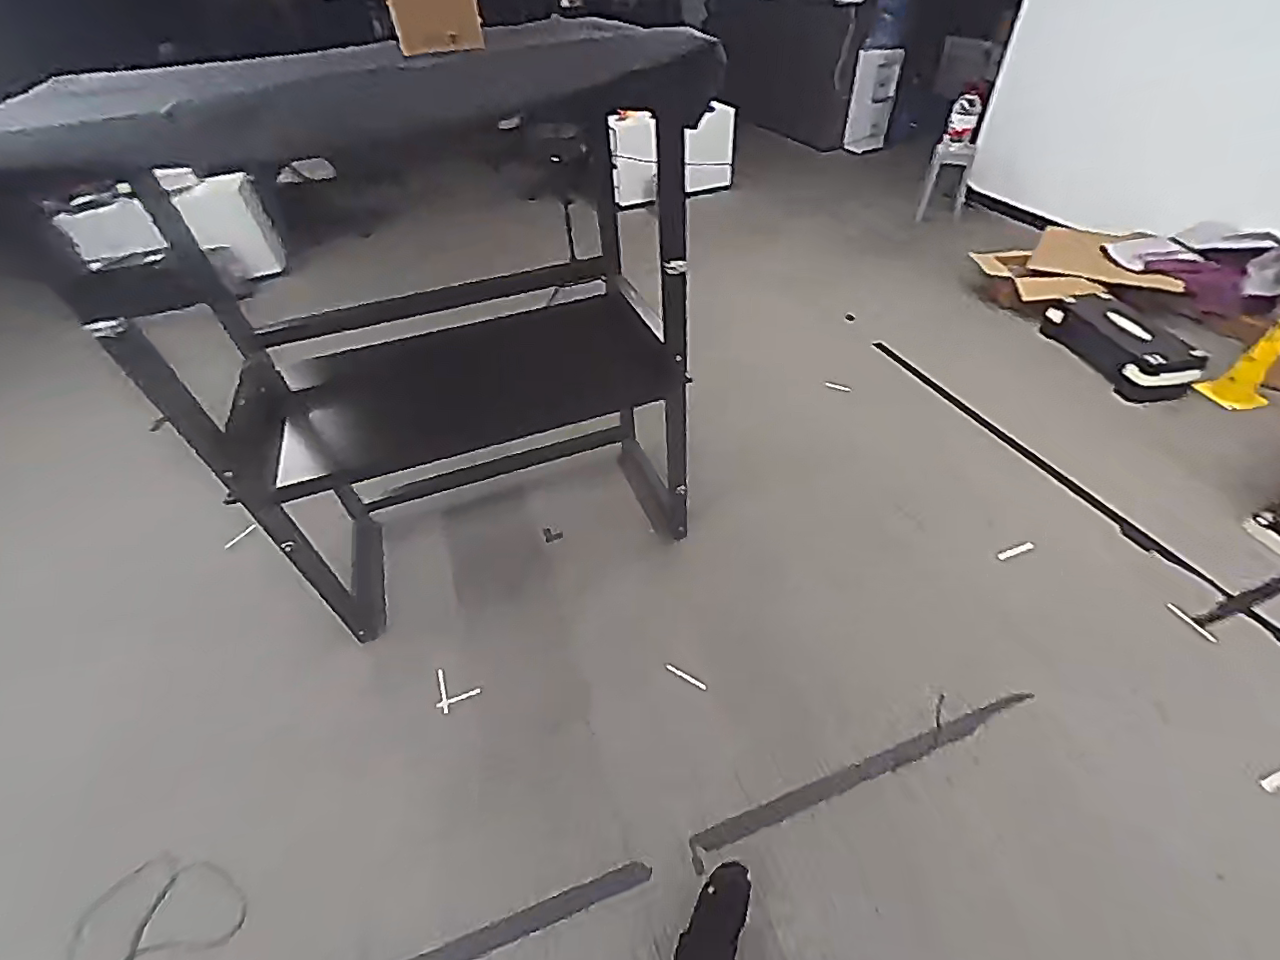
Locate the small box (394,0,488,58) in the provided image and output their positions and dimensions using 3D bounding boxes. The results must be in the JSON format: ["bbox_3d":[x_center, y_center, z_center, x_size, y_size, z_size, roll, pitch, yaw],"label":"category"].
[{"bbox_3d":[-0.434,-1.016,1.151,0.168,0.176,0.179,-17,46,-12],"label":"small box"}]
